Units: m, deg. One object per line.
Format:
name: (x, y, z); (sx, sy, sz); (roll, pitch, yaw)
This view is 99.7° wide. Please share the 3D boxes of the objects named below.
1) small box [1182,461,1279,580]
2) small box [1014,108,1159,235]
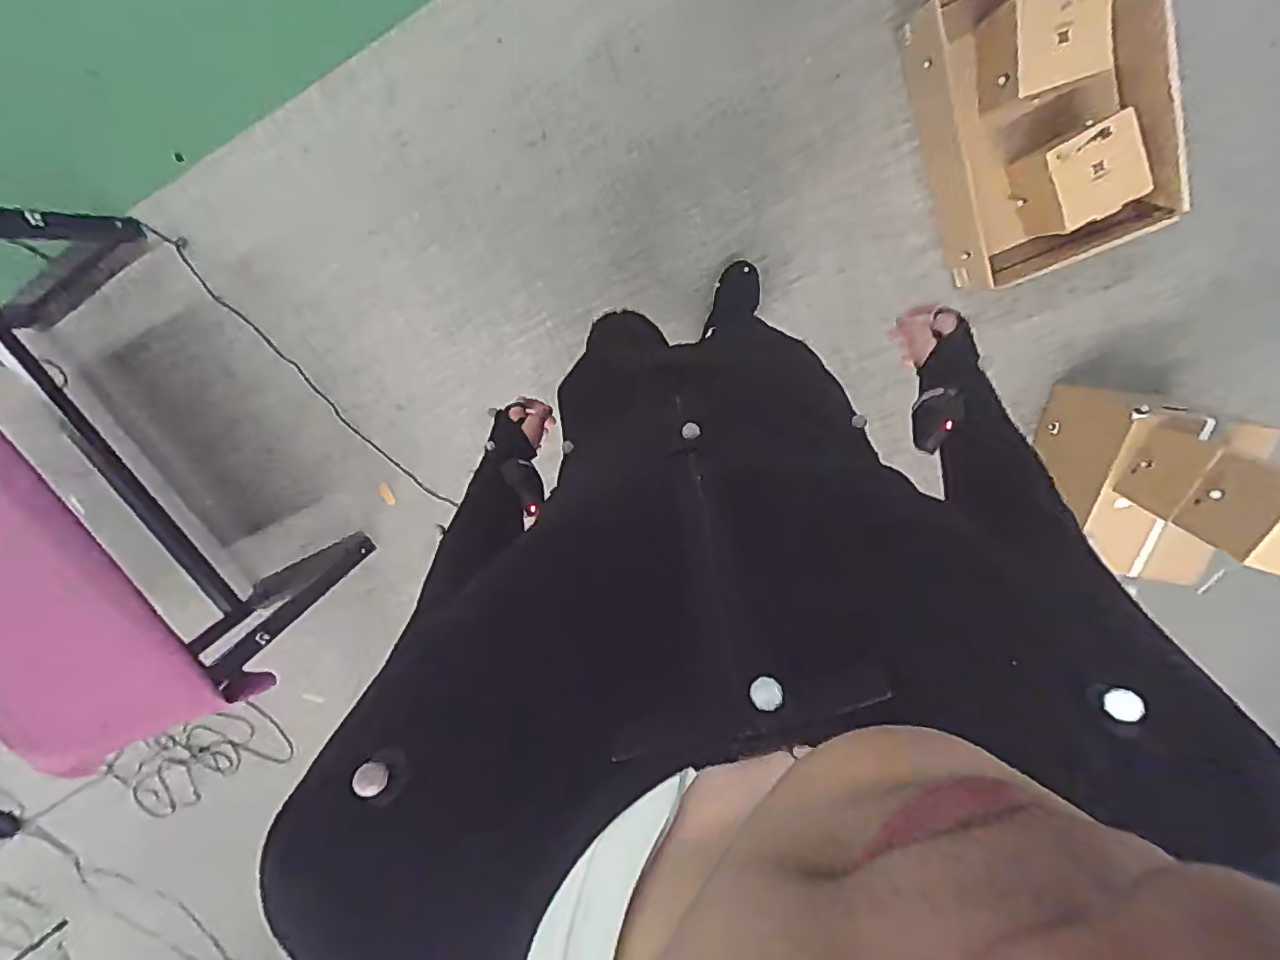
small box: (1.179, 0.082, 0.984); (0.179, 0.176, 0.168); (18, 113, 1)
small box: (0.956, -0.655, 1.171); (0.168, 0.176, 0.179); (-25, 107, 16)
